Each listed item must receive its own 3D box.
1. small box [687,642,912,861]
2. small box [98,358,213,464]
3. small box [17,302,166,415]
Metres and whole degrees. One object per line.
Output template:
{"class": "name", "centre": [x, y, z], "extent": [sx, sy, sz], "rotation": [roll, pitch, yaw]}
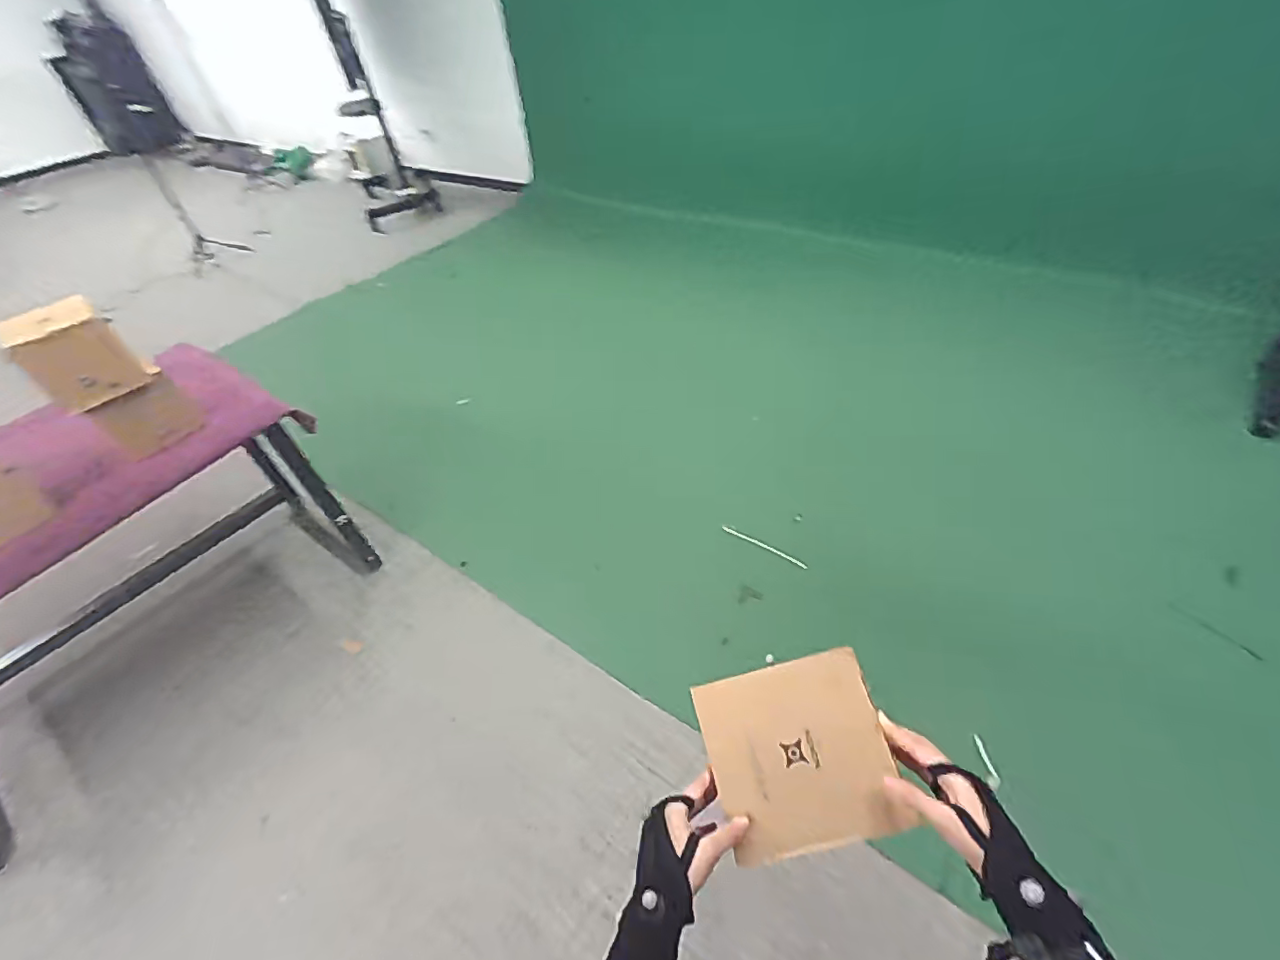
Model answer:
{"class": "small box", "centre": [0.162, 0.290, 0.599], "extent": [0.179, 0.176, 0.168], "rotation": [-17, 64, 5]}
{"class": "small box", "centre": [-1.217, -0.173, 1.348], "extent": [0.168, 0.176, 0.179], "rotation": [23, 53, 30]}
{"class": "small box", "centre": [-1.229, -0.273, 1.218], "extent": [0.179, 0.176, 0.168], "rotation": [32, 58, 33]}
